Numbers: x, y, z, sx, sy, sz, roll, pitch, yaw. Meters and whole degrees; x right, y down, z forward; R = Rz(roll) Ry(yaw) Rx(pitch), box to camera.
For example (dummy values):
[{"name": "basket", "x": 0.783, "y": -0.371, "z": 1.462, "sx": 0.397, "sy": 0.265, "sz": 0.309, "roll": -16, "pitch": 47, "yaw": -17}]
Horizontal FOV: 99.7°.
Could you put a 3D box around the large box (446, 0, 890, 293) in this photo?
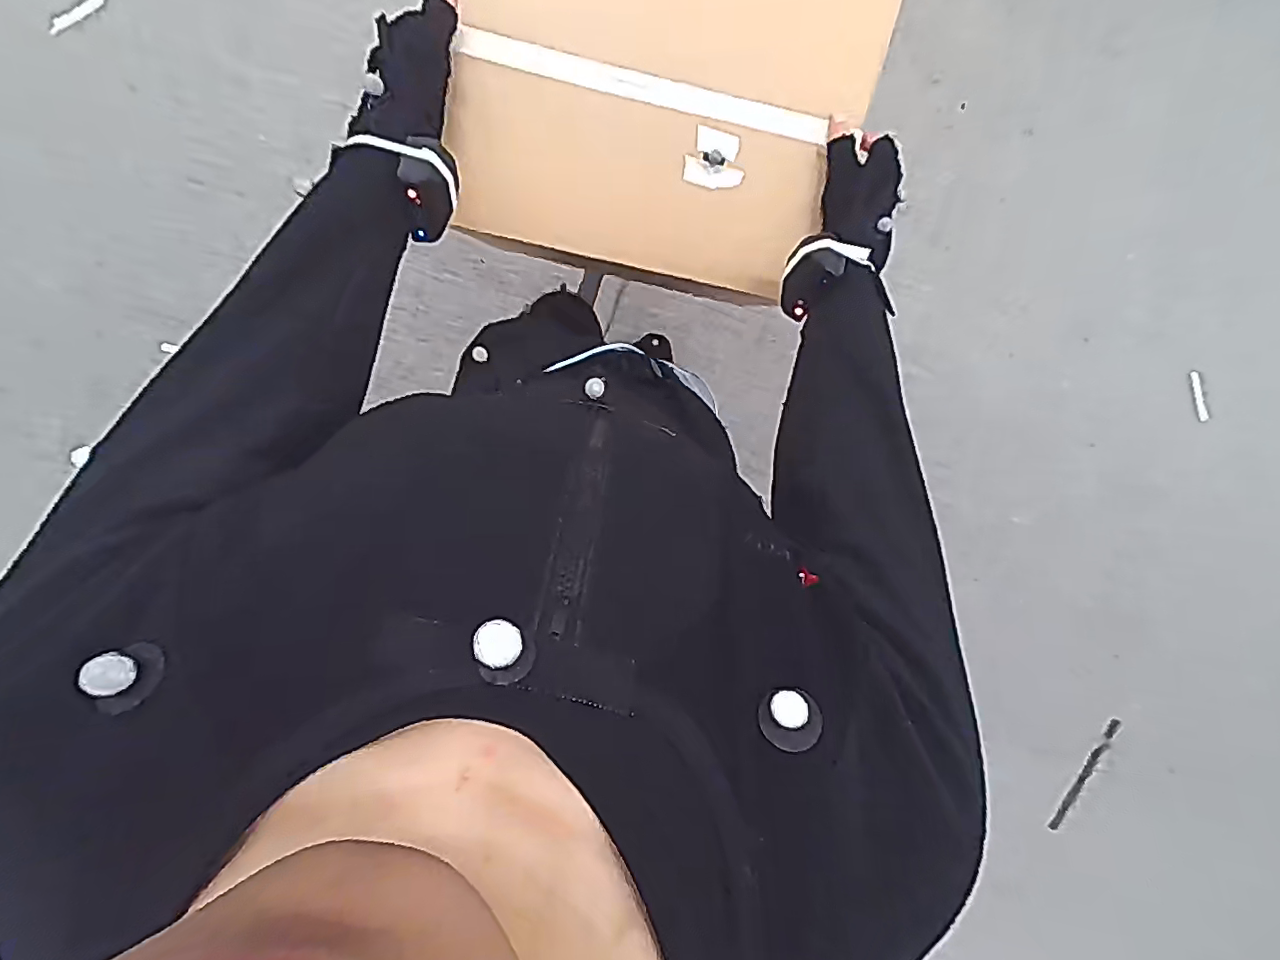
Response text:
[{"name": "large box", "x": 0.012, "y": -0.429, "z": 0.669, "sx": 0.408, "sy": 0.320, "sz": 0.320, "roll": 10, "pitch": 109, "yaw": -6}]
